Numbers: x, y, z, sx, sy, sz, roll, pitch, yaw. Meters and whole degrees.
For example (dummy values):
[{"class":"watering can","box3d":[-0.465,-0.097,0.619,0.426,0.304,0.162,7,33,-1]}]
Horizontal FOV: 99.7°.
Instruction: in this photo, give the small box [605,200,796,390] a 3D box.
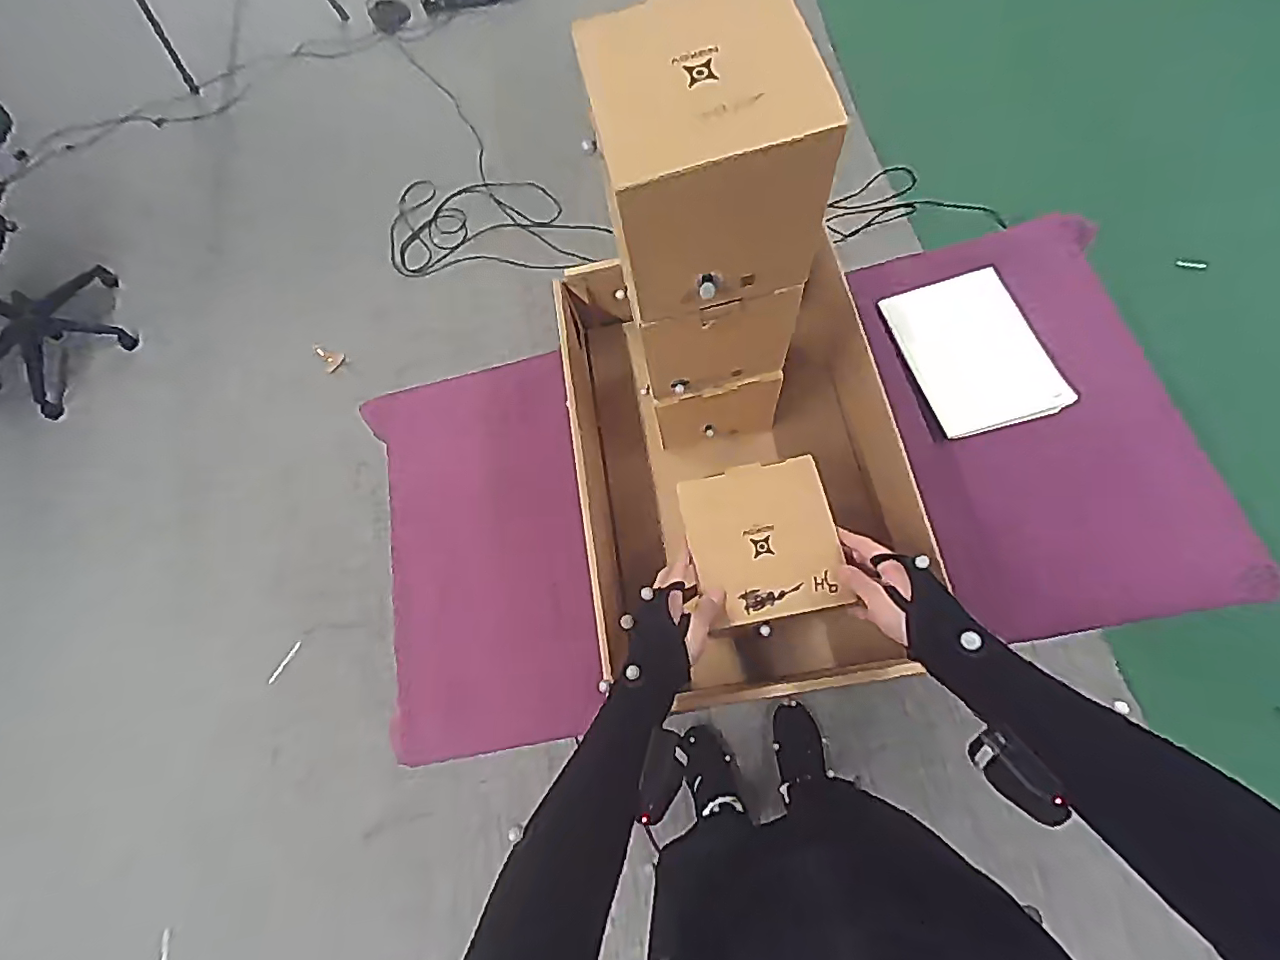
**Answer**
[{"class":"small box","box3d":[0.068,-0.221,0.625,0.168,0.176,0.179,-14,70,2]}]

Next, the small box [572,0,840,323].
[{"class":"small box","box3d":[0.049,-0.271,0.472,0.168,0.176,0.179,-14,71,3]}]

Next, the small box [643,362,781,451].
[{"class":"small box","box3d":[0.090,-0.163,0.778,0.168,0.176,0.179,-13,72,3]}]
